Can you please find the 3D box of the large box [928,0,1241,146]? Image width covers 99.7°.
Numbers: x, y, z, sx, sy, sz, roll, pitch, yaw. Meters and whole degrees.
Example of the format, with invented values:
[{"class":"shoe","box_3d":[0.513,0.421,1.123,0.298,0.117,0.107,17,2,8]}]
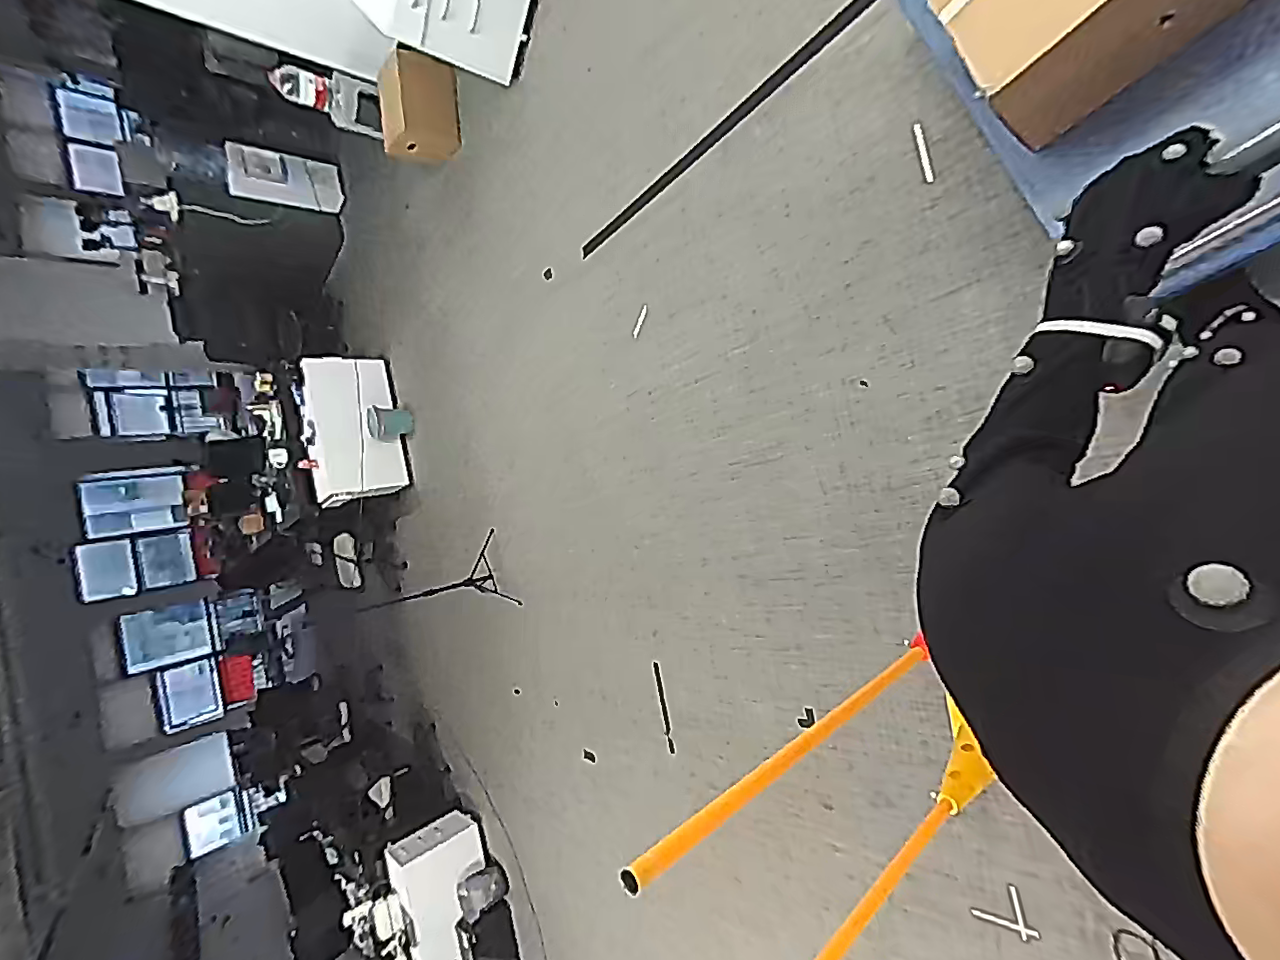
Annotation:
[{"class":"large box","box_3d":[0.714,-0.819,0.817,0.408,0.320,0.320,-32,74,47]}]
